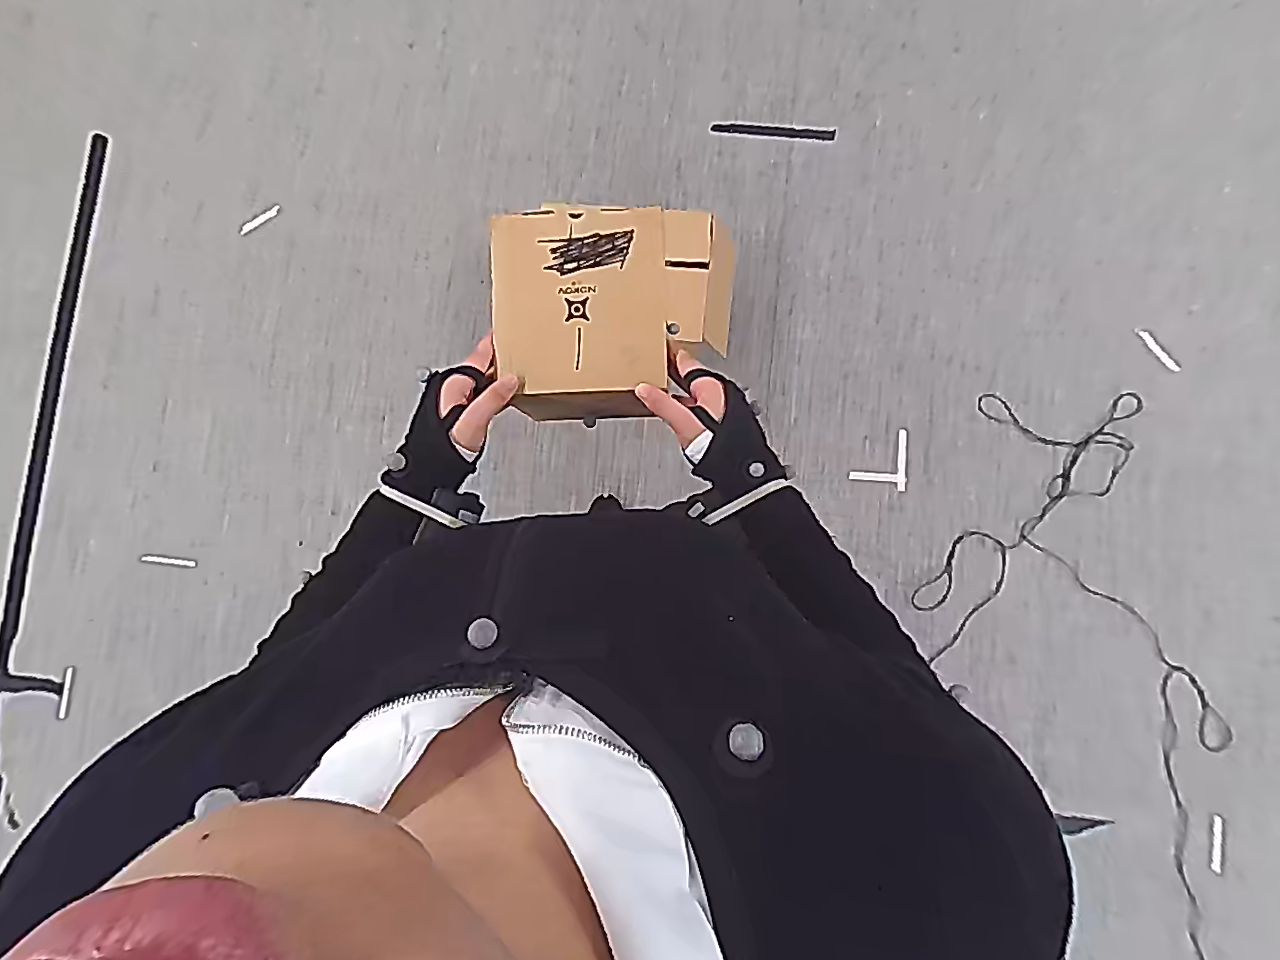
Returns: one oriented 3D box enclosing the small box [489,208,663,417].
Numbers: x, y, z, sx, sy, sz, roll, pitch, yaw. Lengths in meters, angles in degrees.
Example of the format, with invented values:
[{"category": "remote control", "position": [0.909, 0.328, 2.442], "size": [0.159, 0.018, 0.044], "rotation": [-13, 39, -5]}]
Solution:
[{"category": "small box", "position": [-0.060, -0.170, 0.593], "size": [0.168, 0.176, 0.179], "rotation": [-1, 88, 2]}]
